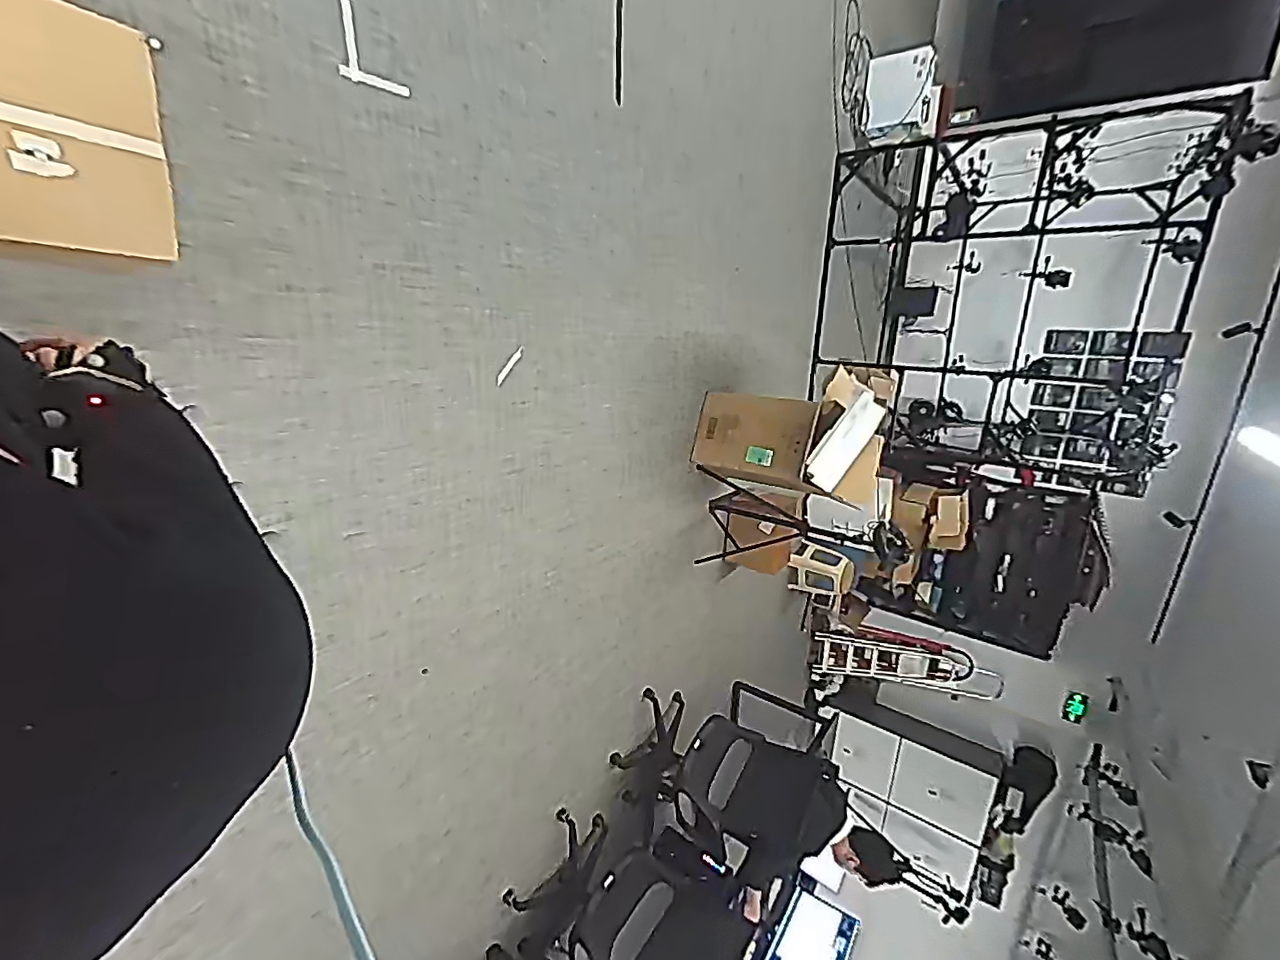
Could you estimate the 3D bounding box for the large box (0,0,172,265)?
[{"bbox_3d":[-0.960,-0.489,0.733,0.408,0.320,0.320,-15,113,-54],"label":"large box"}]
